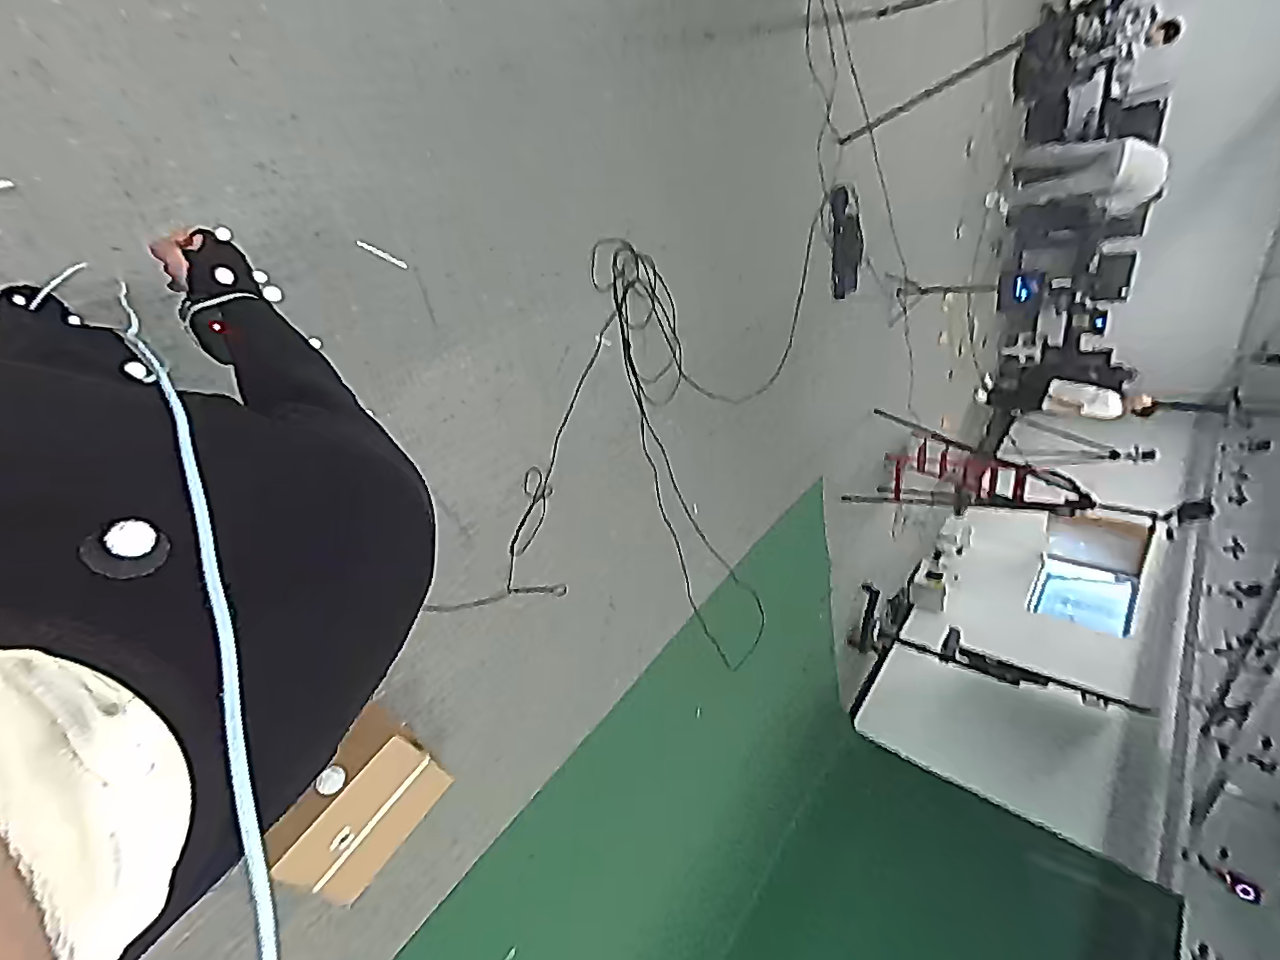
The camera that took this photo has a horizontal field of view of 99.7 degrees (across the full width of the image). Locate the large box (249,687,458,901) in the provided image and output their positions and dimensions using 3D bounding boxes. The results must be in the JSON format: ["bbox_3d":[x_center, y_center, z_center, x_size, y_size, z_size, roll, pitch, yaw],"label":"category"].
[{"bbox_3d":[-0.844,0.916,1.618,0.408,0.320,0.320,-48,131,-27],"label":"large box"}]
